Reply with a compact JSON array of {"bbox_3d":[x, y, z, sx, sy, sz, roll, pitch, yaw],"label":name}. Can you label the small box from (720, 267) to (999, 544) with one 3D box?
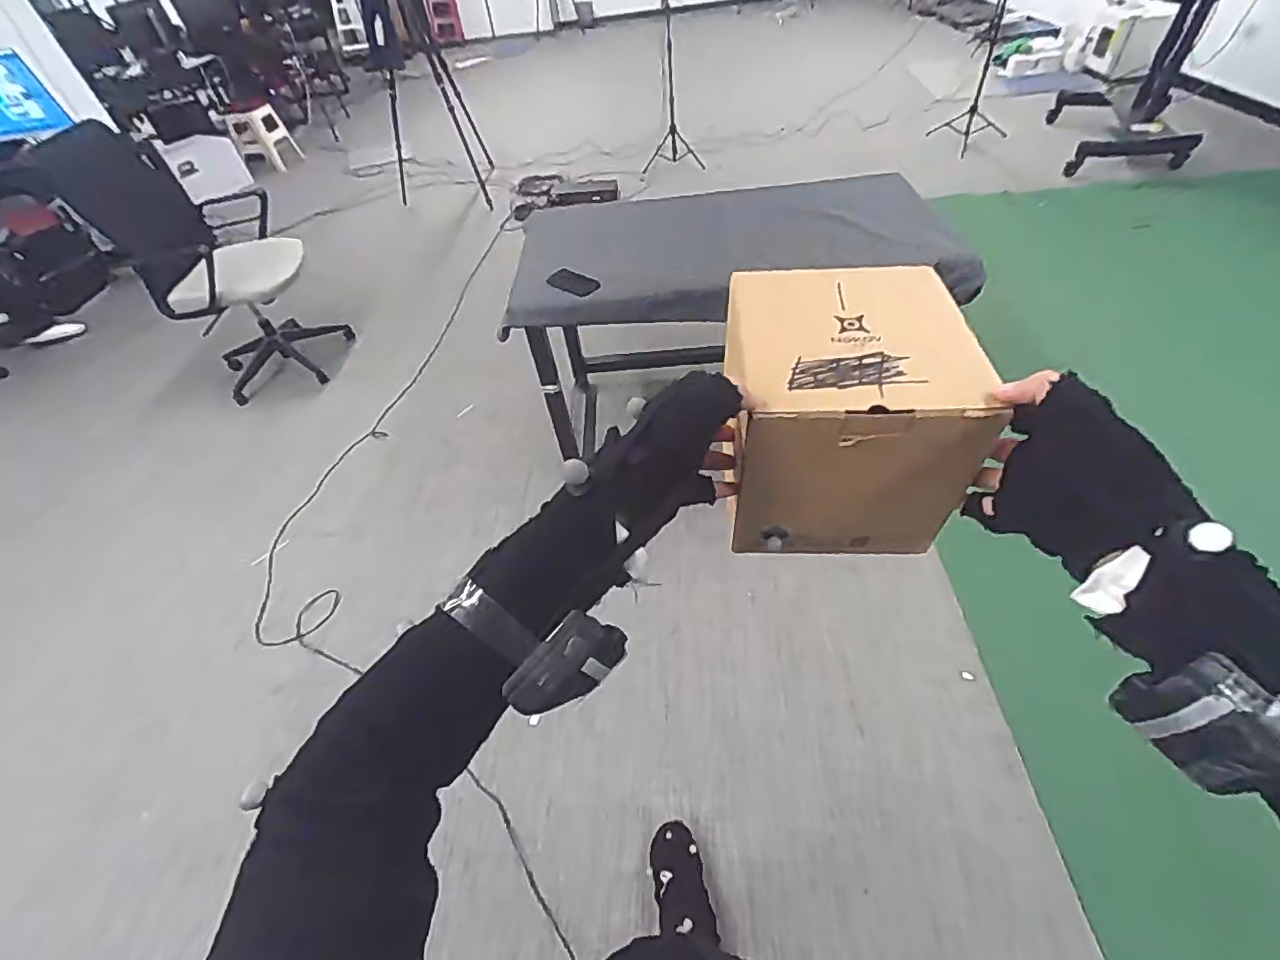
[{"bbox_3d":[0.158,-0.059,0.463,0.168,0.176,0.179,0,50,4],"label":"small box"}]
